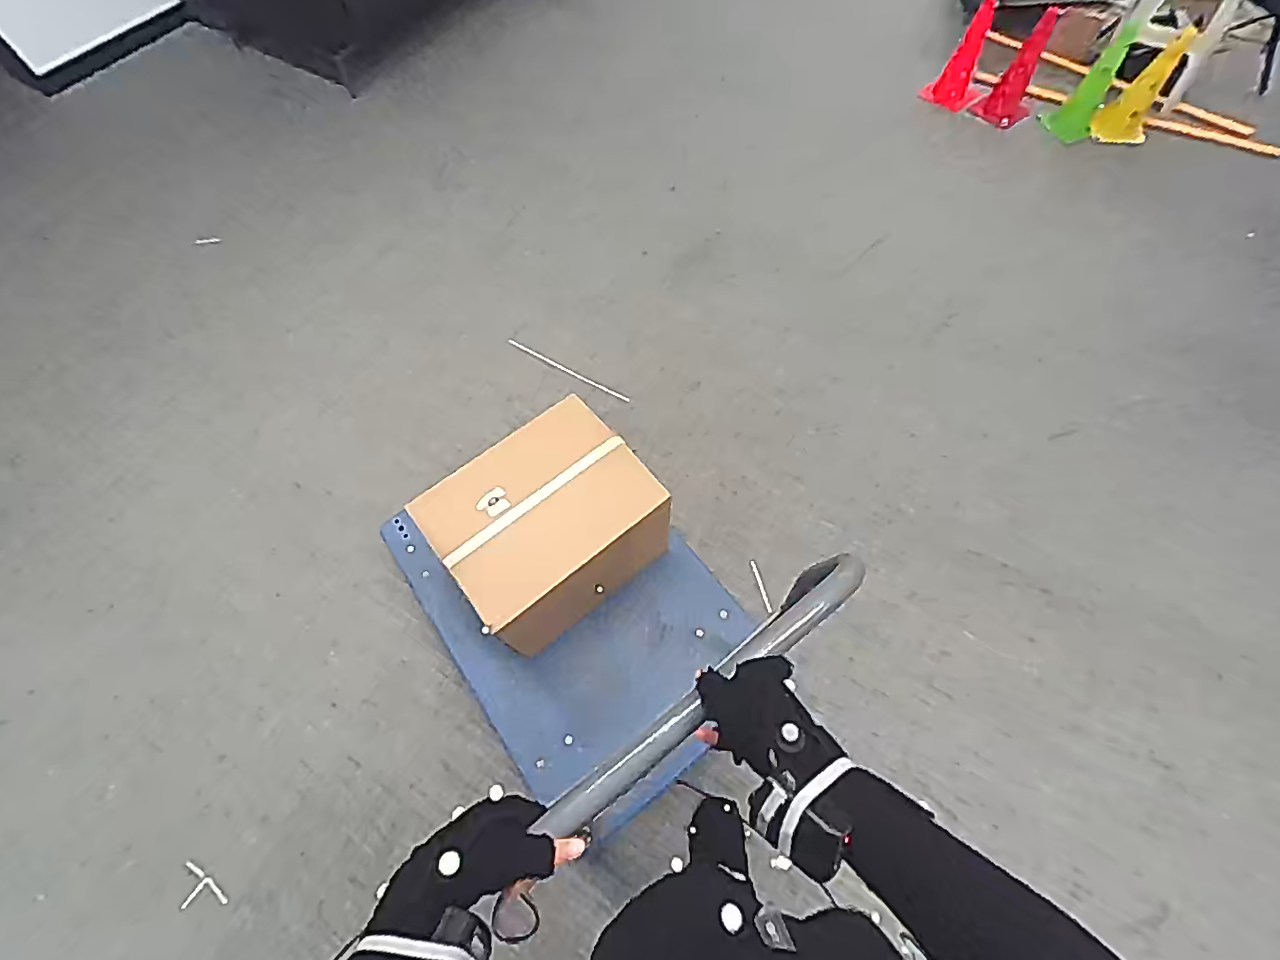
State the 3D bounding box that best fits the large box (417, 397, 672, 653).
[{"bbox_3d":[-0.178,0.105,1.165,0.408,0.320,0.320,-37,68,-15],"label":"large box"}]
